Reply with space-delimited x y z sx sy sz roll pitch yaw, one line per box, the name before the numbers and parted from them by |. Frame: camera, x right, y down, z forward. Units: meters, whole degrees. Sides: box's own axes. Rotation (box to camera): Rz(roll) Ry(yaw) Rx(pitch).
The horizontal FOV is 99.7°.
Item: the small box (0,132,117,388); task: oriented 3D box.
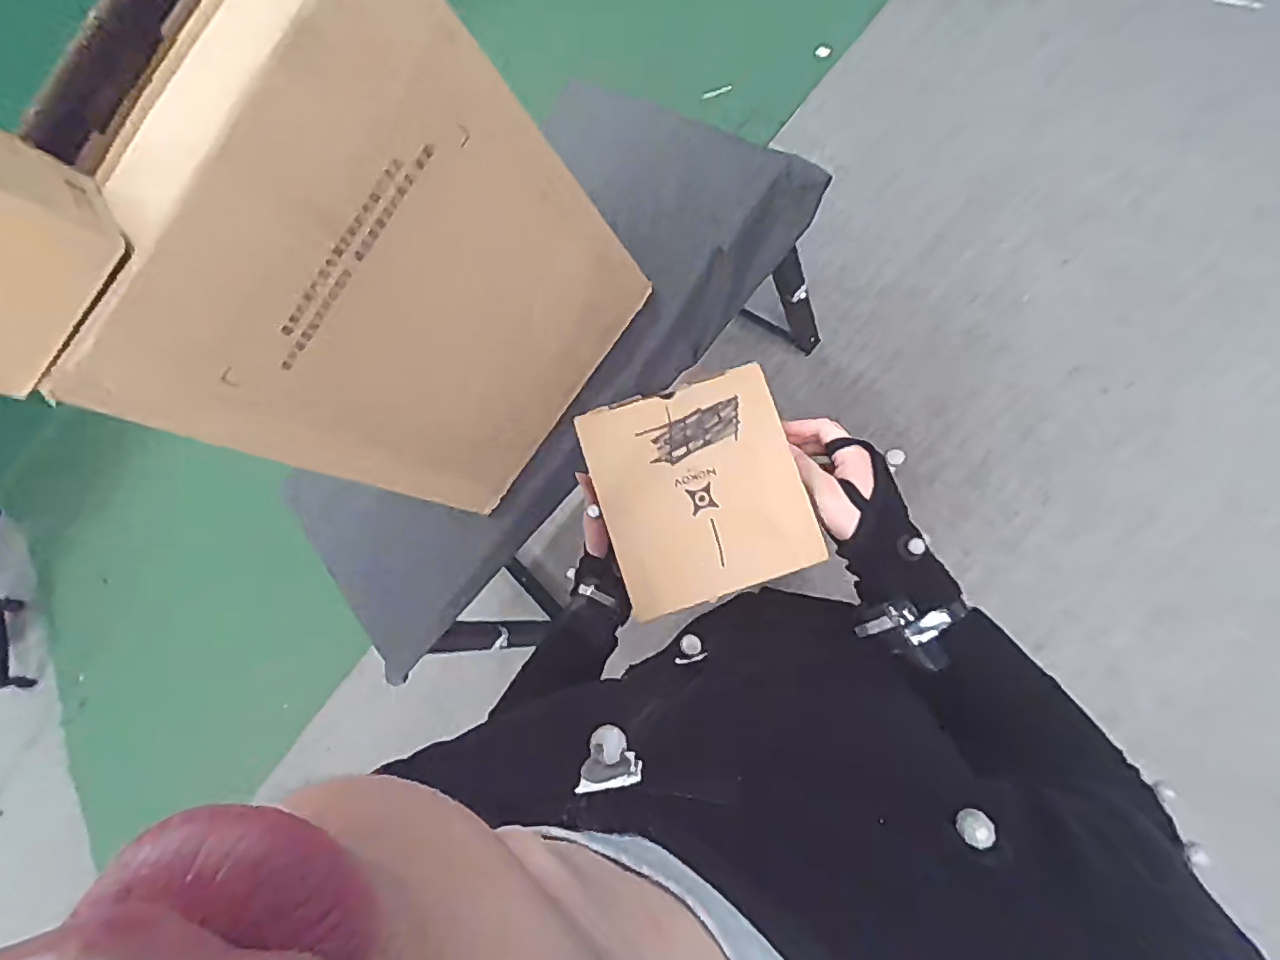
small box | -0.591 -0.205 0.447 0.168 0.176 0.179 44 98 25
